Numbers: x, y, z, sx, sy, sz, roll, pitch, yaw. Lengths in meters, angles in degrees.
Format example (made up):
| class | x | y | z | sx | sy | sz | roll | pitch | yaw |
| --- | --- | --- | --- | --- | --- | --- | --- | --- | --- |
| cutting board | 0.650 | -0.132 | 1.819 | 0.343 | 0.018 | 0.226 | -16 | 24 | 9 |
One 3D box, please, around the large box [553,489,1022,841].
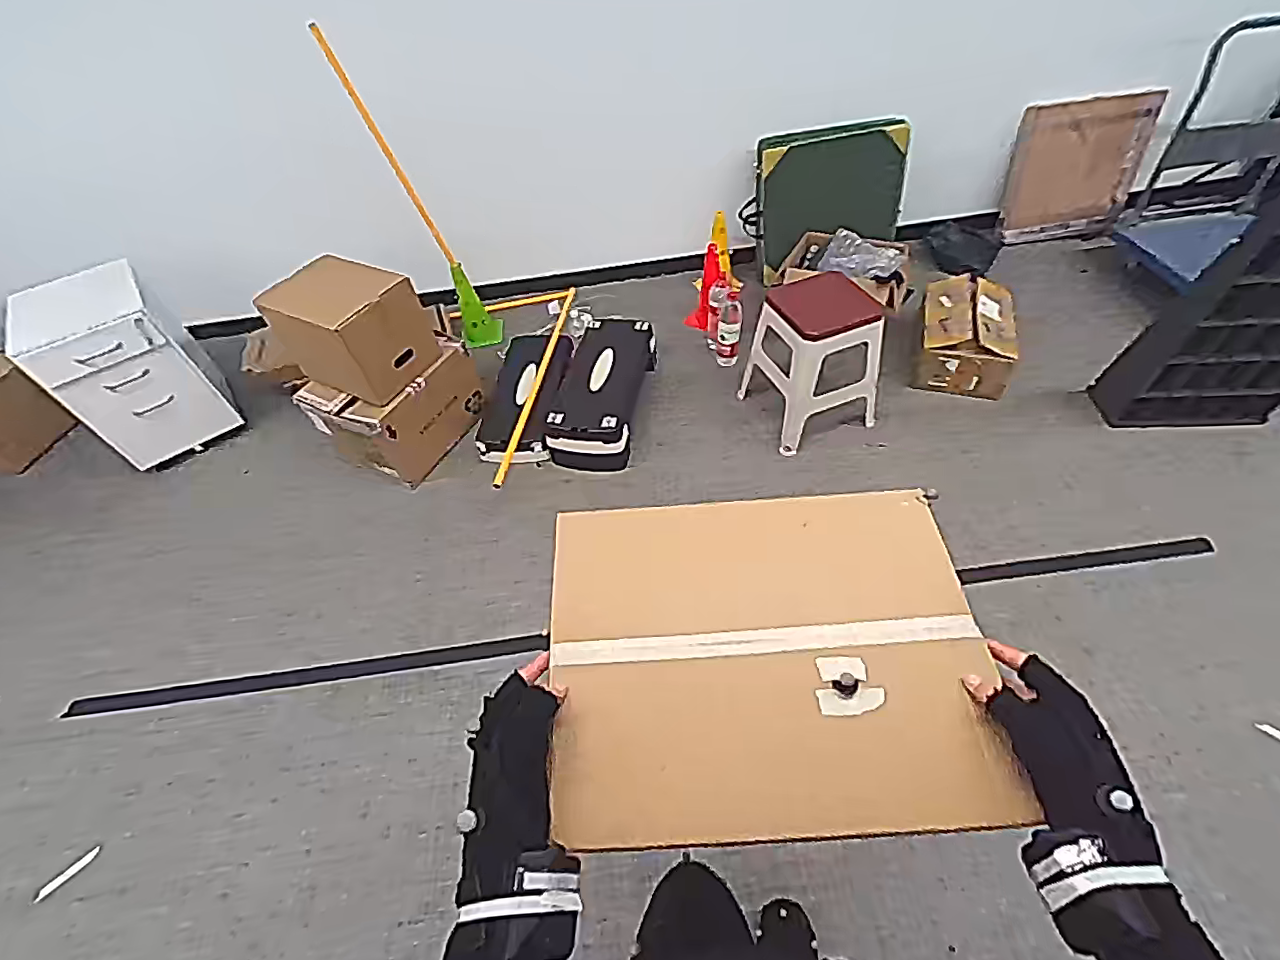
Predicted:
| class | x | y | z | sx | sy | sz | roll | pitch | yaw |
| --- | --- | --- | --- | --- | --- | --- | --- | --- | --- |
| large box | 0.121 | 0.237 | 0.656 | 0.408 | 0.320 | 0.320 | -5 | 57 | 1 |
